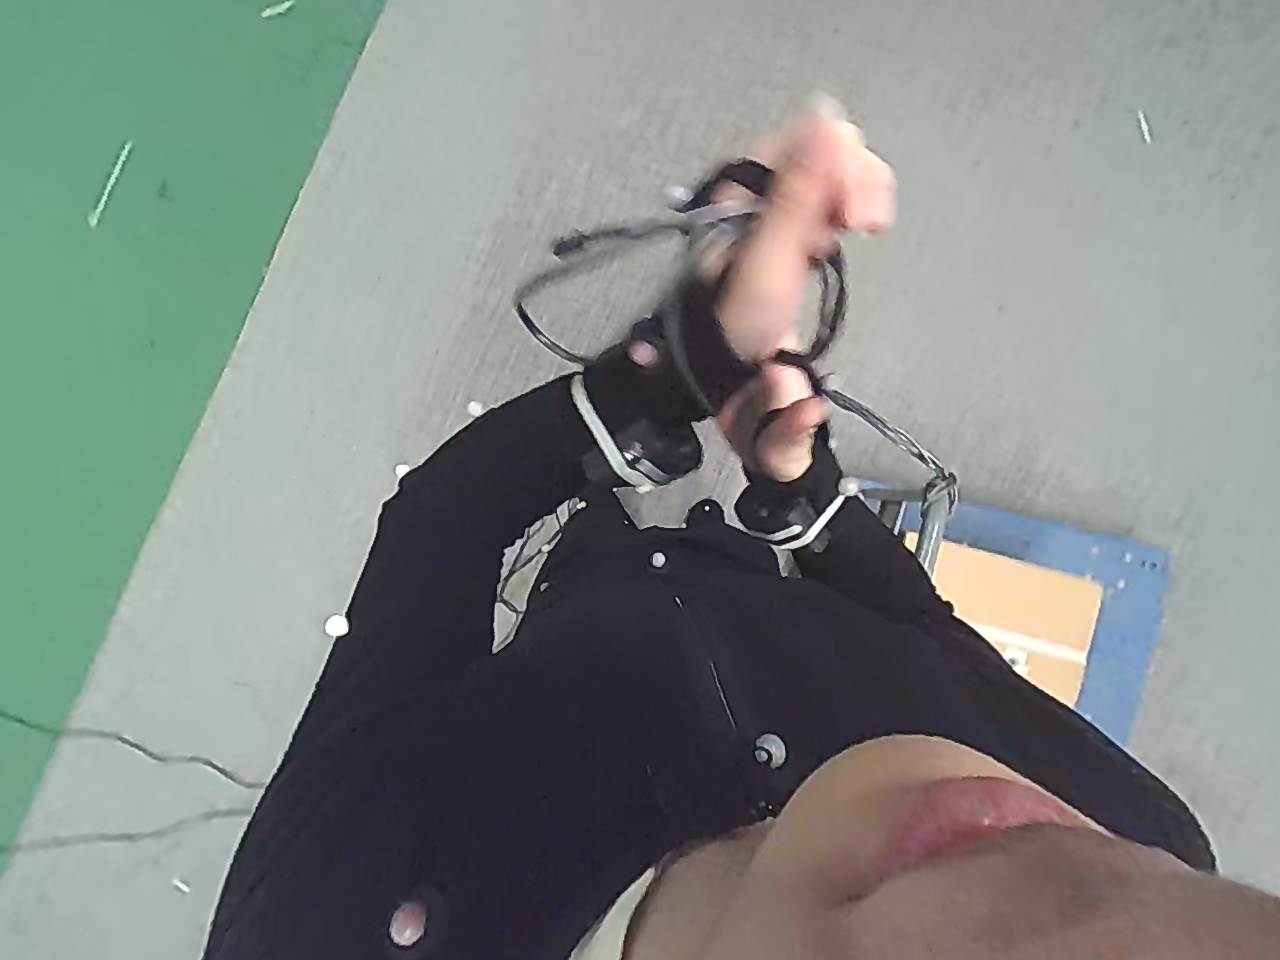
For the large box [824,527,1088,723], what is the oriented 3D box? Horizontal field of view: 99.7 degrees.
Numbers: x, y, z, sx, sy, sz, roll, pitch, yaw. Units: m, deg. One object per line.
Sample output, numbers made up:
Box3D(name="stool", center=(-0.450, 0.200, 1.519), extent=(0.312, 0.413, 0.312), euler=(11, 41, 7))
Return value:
Box3D(name="large box", center=(0.701, 0.308, 1.269), extent=(0.408, 0.320, 0.320), euler=(16, 90, 4))
